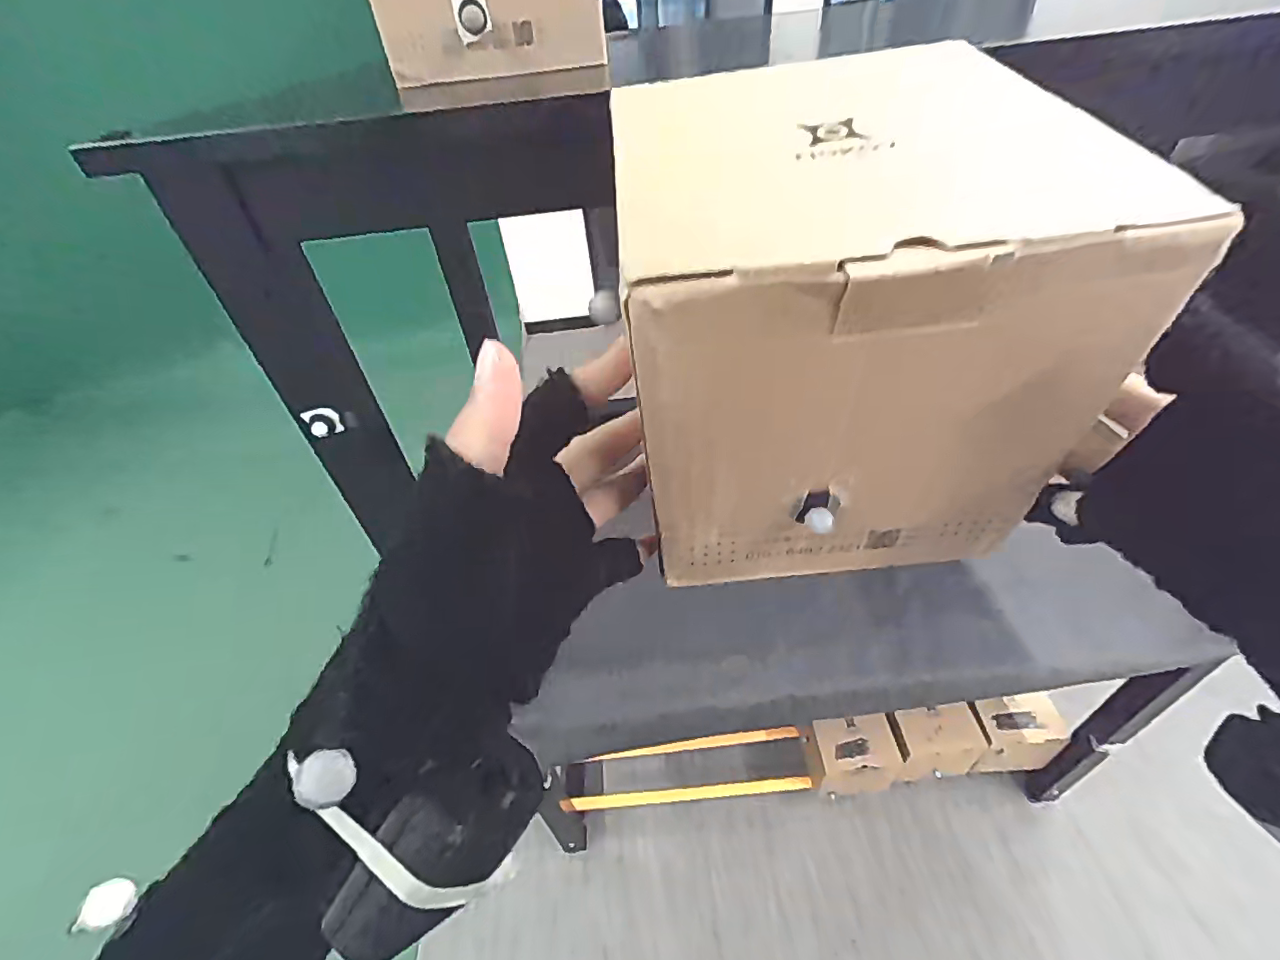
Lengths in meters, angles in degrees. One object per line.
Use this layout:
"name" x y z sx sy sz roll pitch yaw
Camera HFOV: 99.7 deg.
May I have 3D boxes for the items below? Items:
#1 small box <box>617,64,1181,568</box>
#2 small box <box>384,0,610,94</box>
"small box" 0.078 -0.077 0.273 0.168 0.176 0.179 -6 51 3
"small box" -0.121 -0.430 0.439 0.168 0.176 0.179 -9 43 -2
